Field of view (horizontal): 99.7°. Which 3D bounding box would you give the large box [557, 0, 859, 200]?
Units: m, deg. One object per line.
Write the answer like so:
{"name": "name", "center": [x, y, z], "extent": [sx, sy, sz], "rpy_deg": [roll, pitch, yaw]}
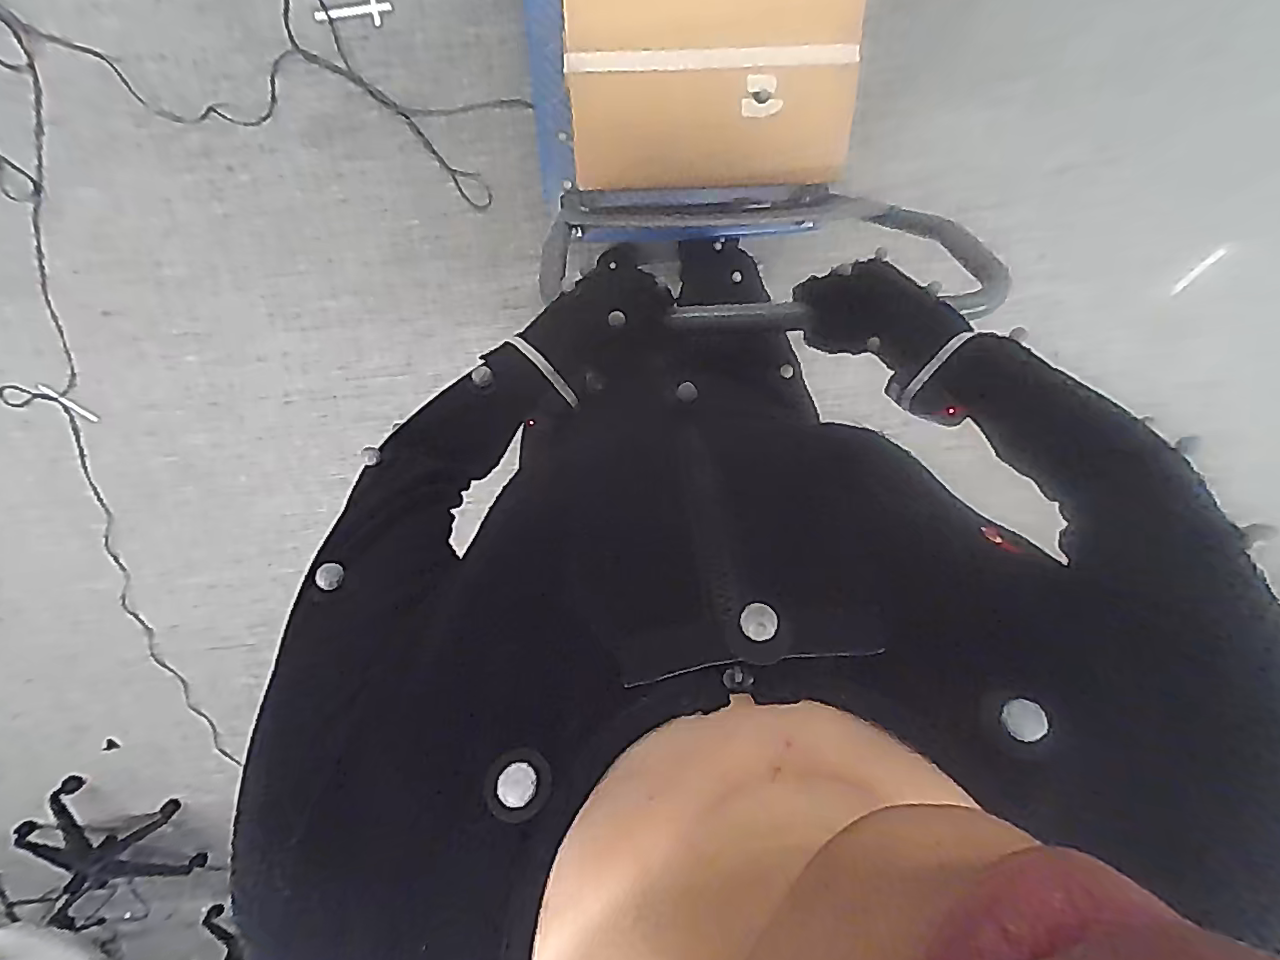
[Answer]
{"name": "large box", "center": [0.083, -0.639, 0.871], "extent": [0.408, 0.320, 0.320], "rpy_deg": [-4, 120, -3]}
